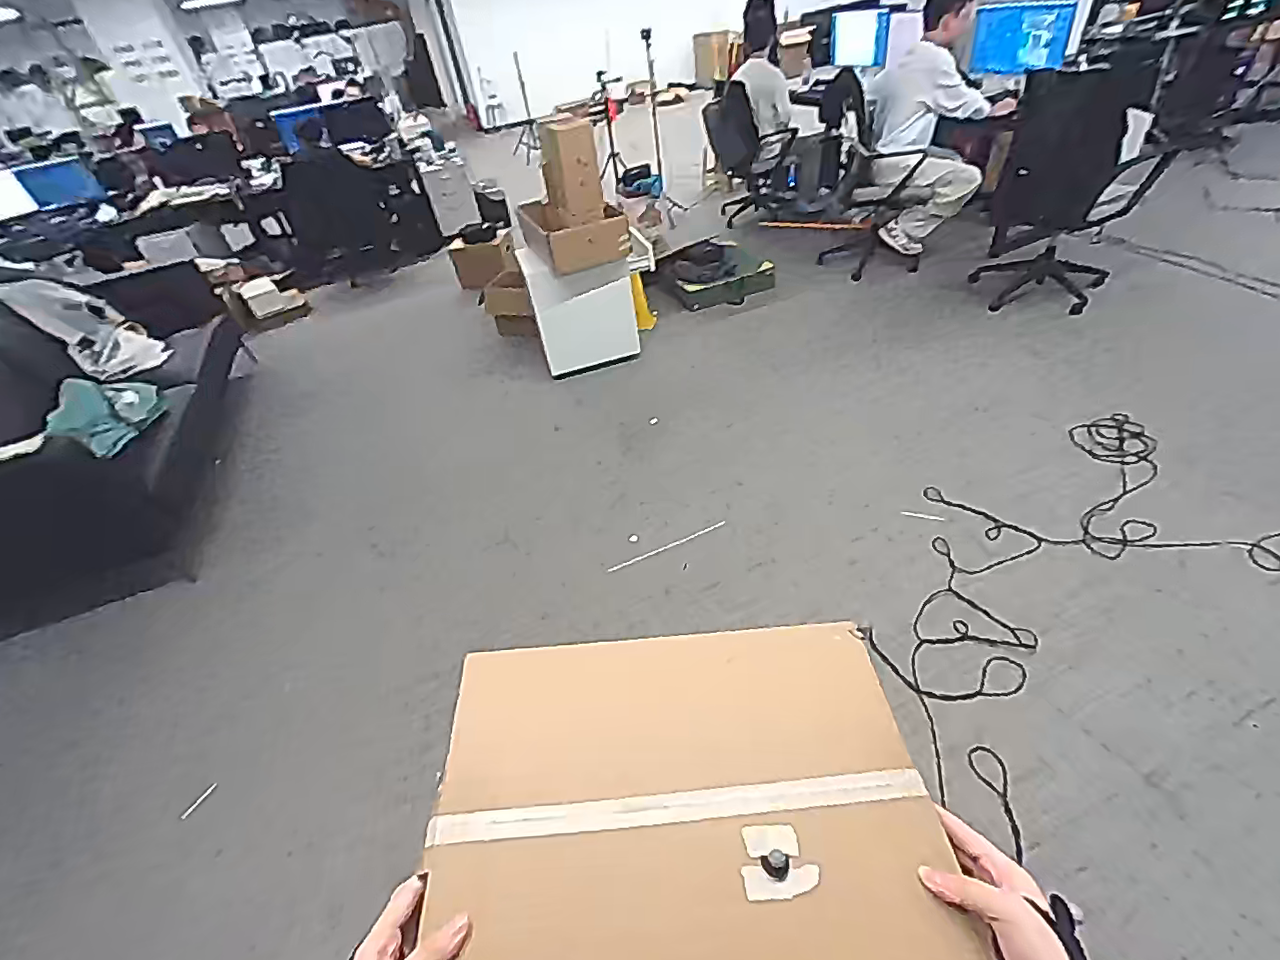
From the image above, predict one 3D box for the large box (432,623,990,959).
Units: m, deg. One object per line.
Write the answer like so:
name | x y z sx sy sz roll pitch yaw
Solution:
large box | 0.042 0.379 0.563 0.408 0.320 0.320 -3 44 -2
